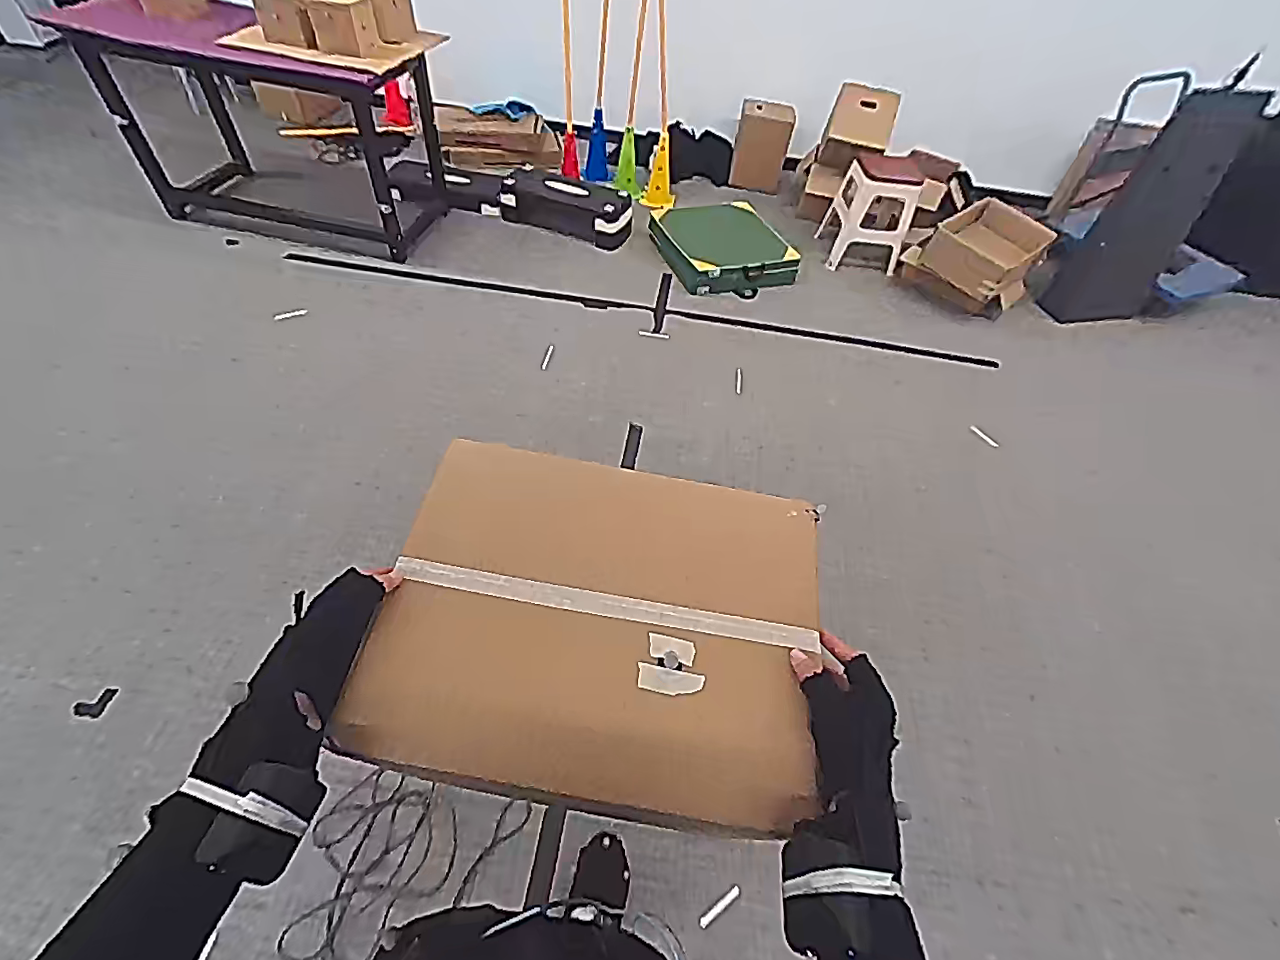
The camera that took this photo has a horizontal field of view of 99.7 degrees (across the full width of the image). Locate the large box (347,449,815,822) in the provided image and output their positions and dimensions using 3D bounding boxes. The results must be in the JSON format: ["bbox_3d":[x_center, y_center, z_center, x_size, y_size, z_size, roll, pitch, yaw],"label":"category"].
[{"bbox_3d":[-0.045,0.201,0.652,0.408,0.320,0.320,10,58,0],"label":"large box"}]
